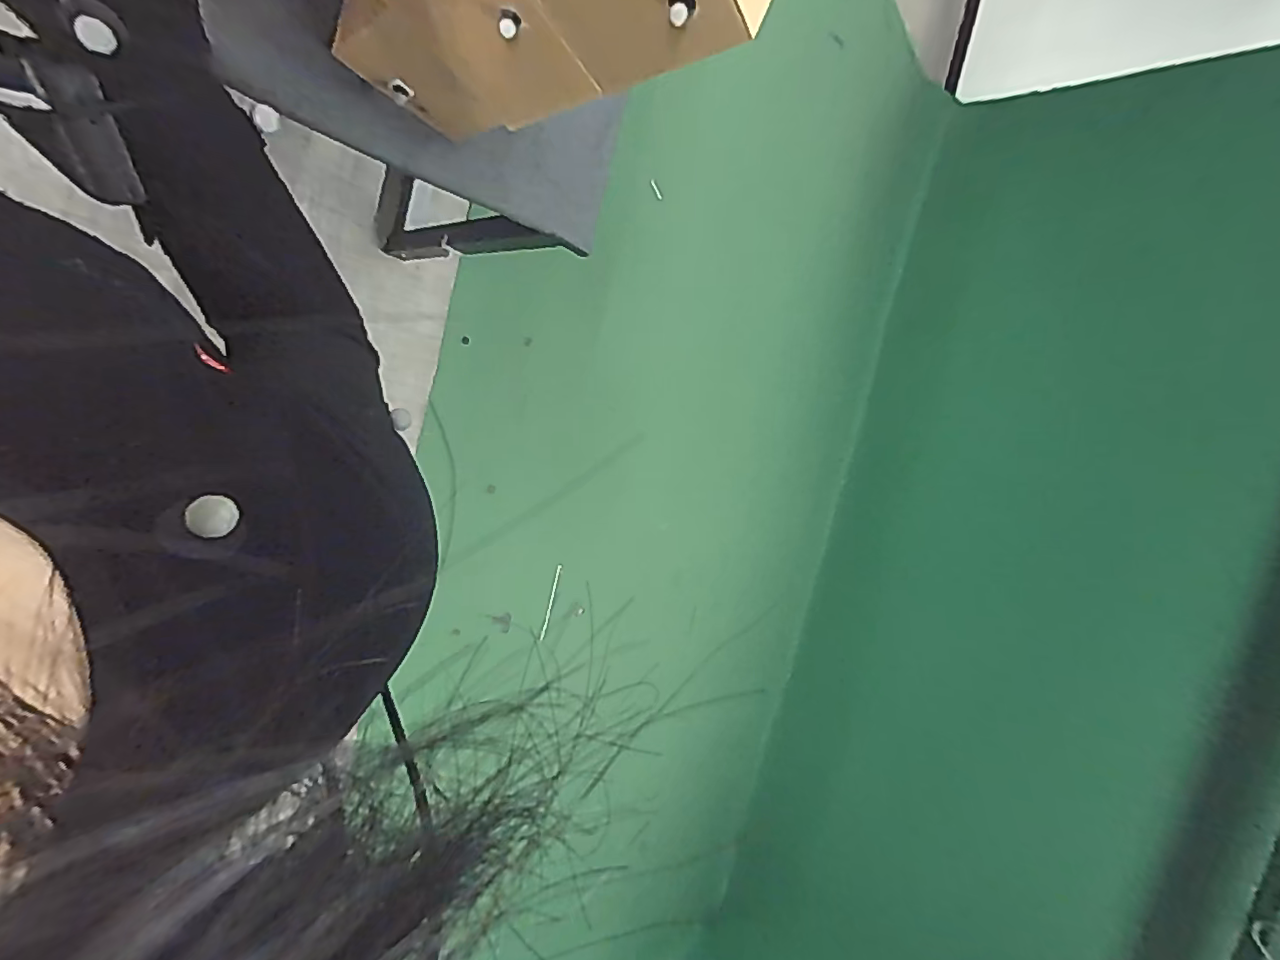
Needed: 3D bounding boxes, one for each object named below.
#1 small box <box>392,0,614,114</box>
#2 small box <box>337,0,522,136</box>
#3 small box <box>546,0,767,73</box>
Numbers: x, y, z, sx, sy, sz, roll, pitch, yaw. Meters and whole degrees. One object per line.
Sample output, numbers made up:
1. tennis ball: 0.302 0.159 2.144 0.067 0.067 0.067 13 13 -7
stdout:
1. small box: -0.112 -0.495 0.522 0.179 0.176 0.168 28 81 -47
2. small box: -0.226 -0.545 0.628 0.168 0.176 0.179 12 95 -48
3. small box: 0.009 -0.460 0.416 0.179 0.176 0.168 30 79 -47
